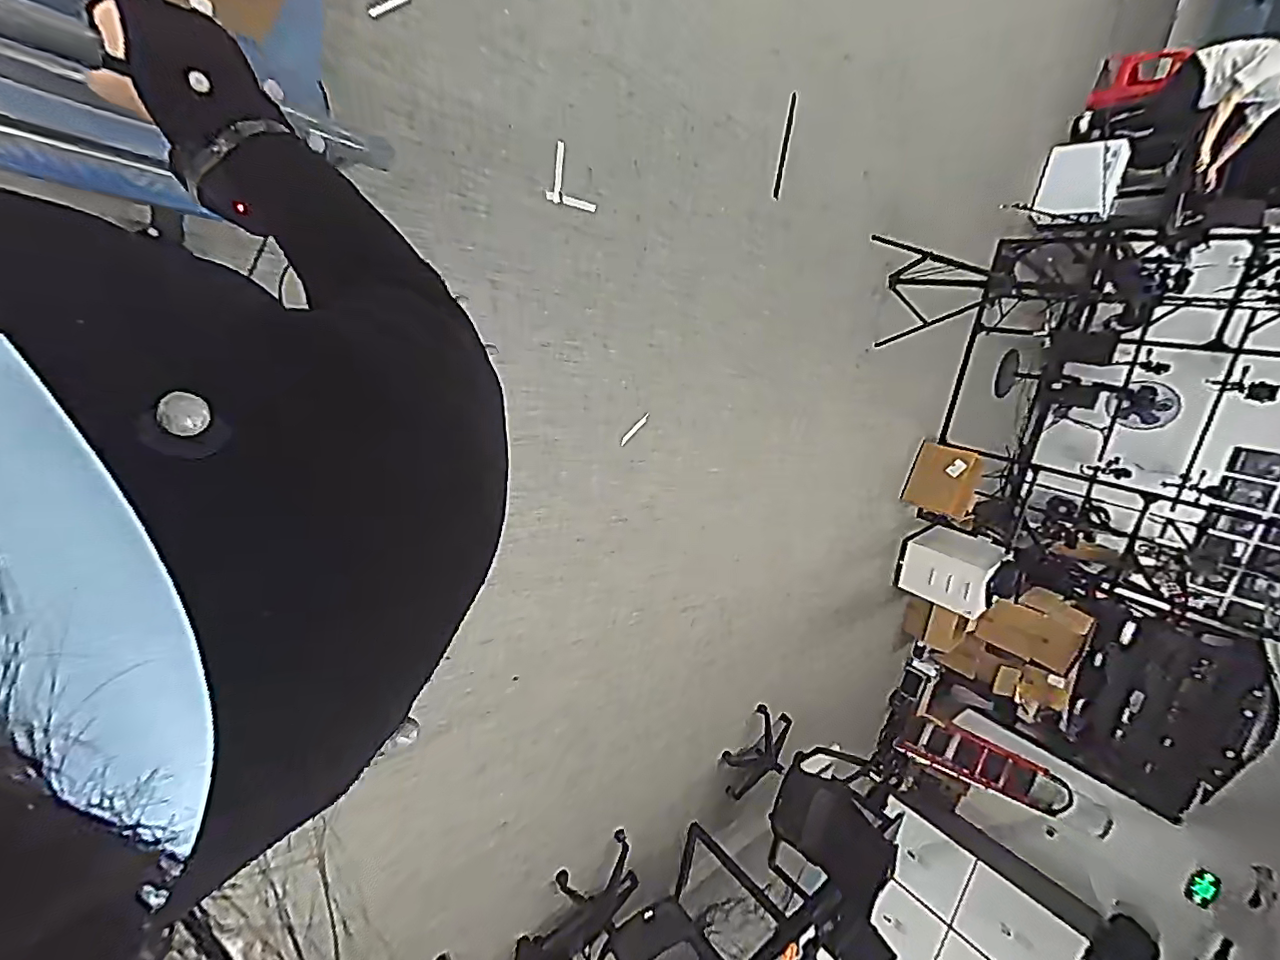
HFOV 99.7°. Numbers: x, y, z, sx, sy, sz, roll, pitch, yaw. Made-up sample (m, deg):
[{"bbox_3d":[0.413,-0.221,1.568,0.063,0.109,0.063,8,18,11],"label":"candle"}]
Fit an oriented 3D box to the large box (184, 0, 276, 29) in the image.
[{"bbox_3d":[-0.685,-0.873,0.670,0.408,0.320,0.320,1,106,-42],"label":"large box"}]
